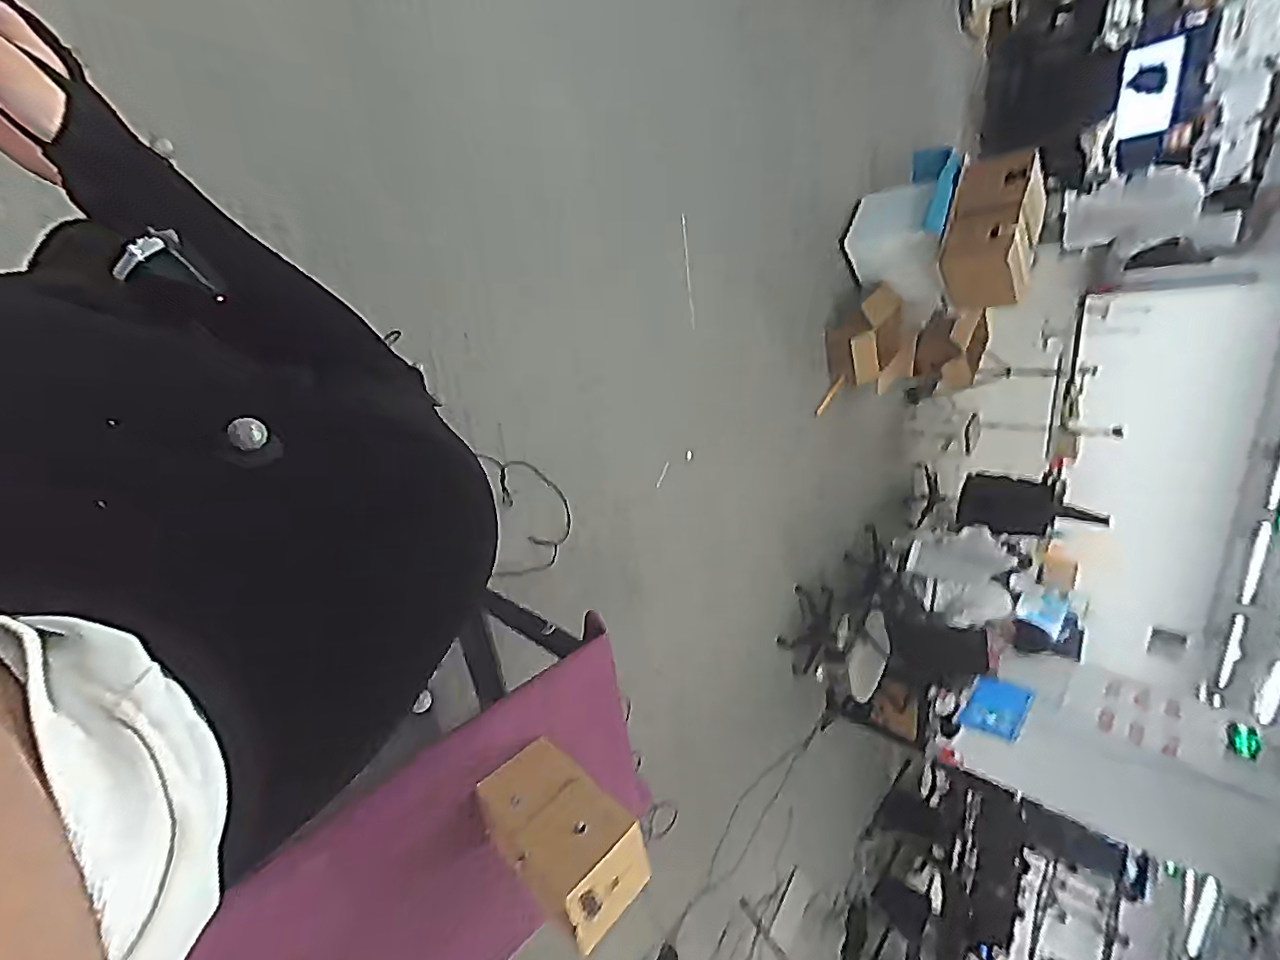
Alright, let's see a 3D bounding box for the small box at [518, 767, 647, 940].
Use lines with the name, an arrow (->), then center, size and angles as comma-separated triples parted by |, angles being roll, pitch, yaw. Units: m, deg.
small box -> -0.116, 0.706, 1.043 | 0.179, 0.176, 0.168 | -29, 119, -39
